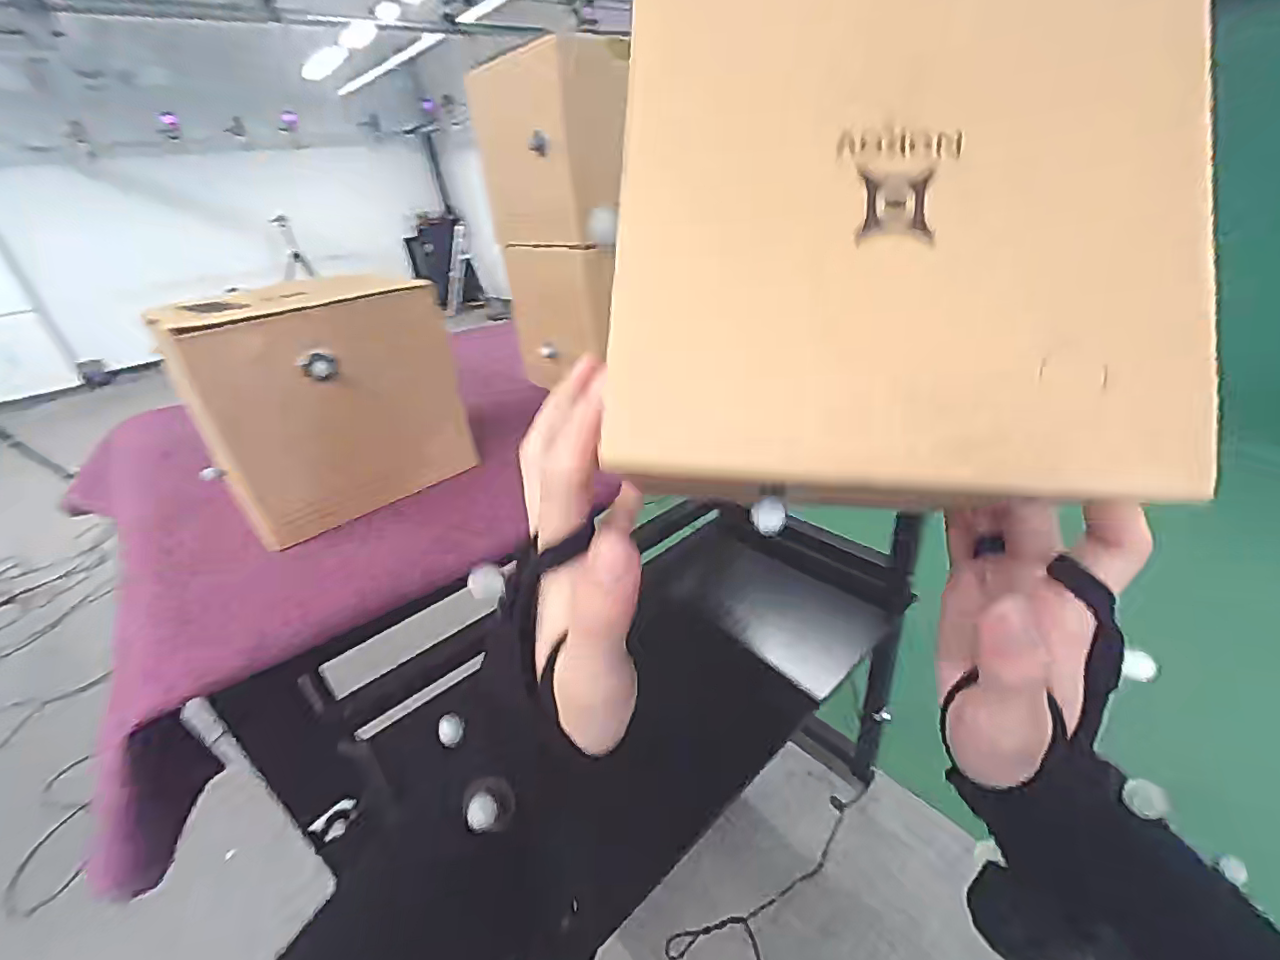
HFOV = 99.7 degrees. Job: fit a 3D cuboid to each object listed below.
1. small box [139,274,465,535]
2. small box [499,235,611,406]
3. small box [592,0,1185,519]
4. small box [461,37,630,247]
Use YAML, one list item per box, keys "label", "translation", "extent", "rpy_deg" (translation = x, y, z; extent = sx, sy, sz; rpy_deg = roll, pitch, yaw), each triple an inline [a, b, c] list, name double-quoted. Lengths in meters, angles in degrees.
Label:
- label: "small box"
  translation: [-0.282, -0.076, 0.472]
  extent: [0.179, 0.176, 0.168]
  rpy_deg: [-29, 36, -36]
- label: "small box"
  translation: [-0.044, -0.207, 0.662]
  extent: [0.179, 0.176, 0.168]
  rpy_deg: [-27, 34, -33]
- label: "small box"
  translation: [0.082, -0.075, 0.244]
  extent: [0.168, 0.179, 0.176]
  rpy_deg: [4, -6, 7]
- label: "small box"
  translation: [-0.065, -0.351, 0.589]
  extent: [0.168, 0.176, 0.179]
  rpy_deg: [-26, 34, -34]
